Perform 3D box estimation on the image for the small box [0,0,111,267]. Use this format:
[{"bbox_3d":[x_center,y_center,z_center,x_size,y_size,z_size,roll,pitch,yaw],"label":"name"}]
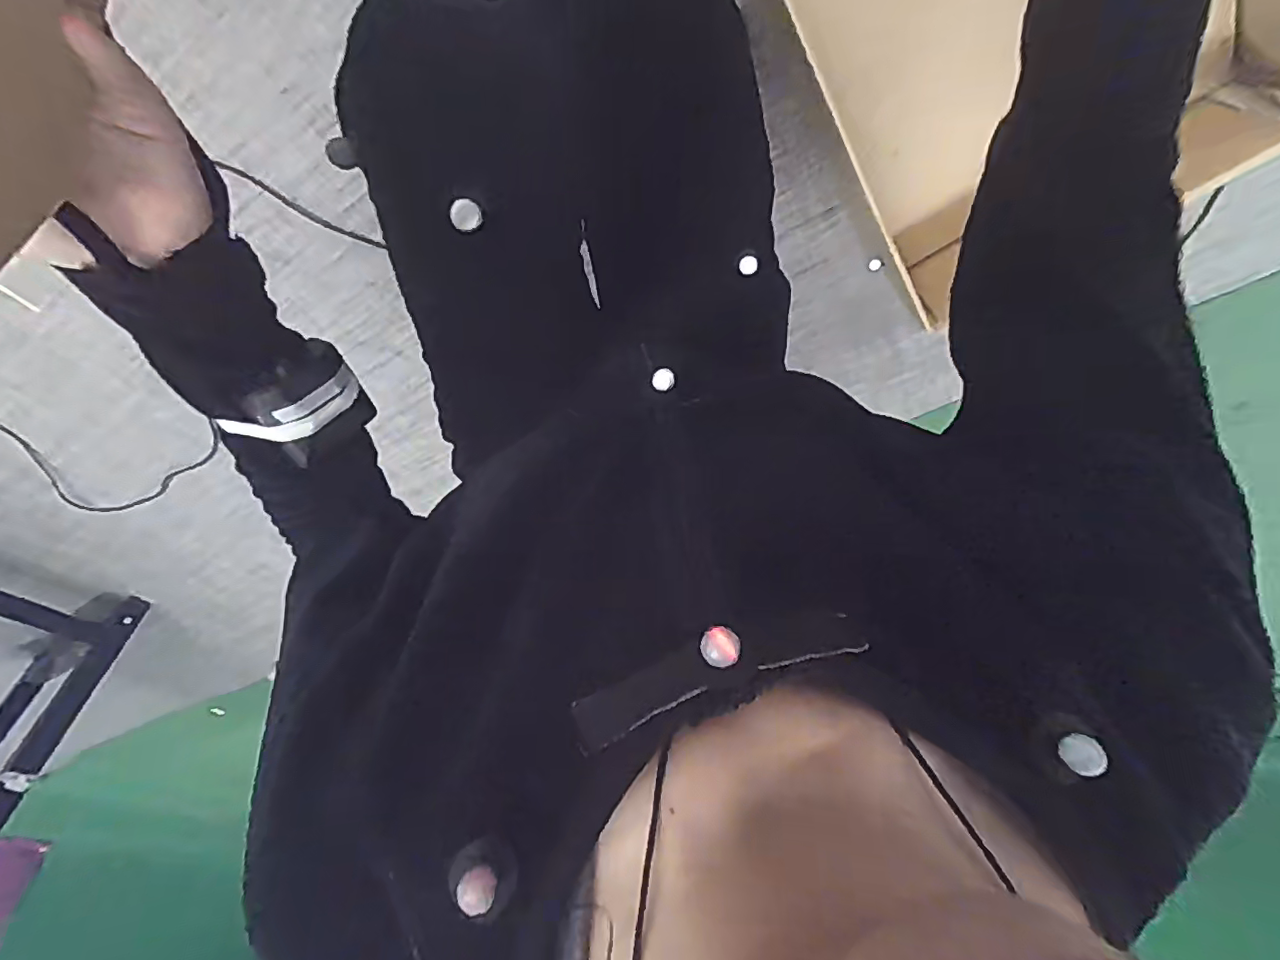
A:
[{"bbox_3d":[-0.222,-0.141,0.093,0.168,0.176,0.179,16,126,-39],"label":"small box"}]
